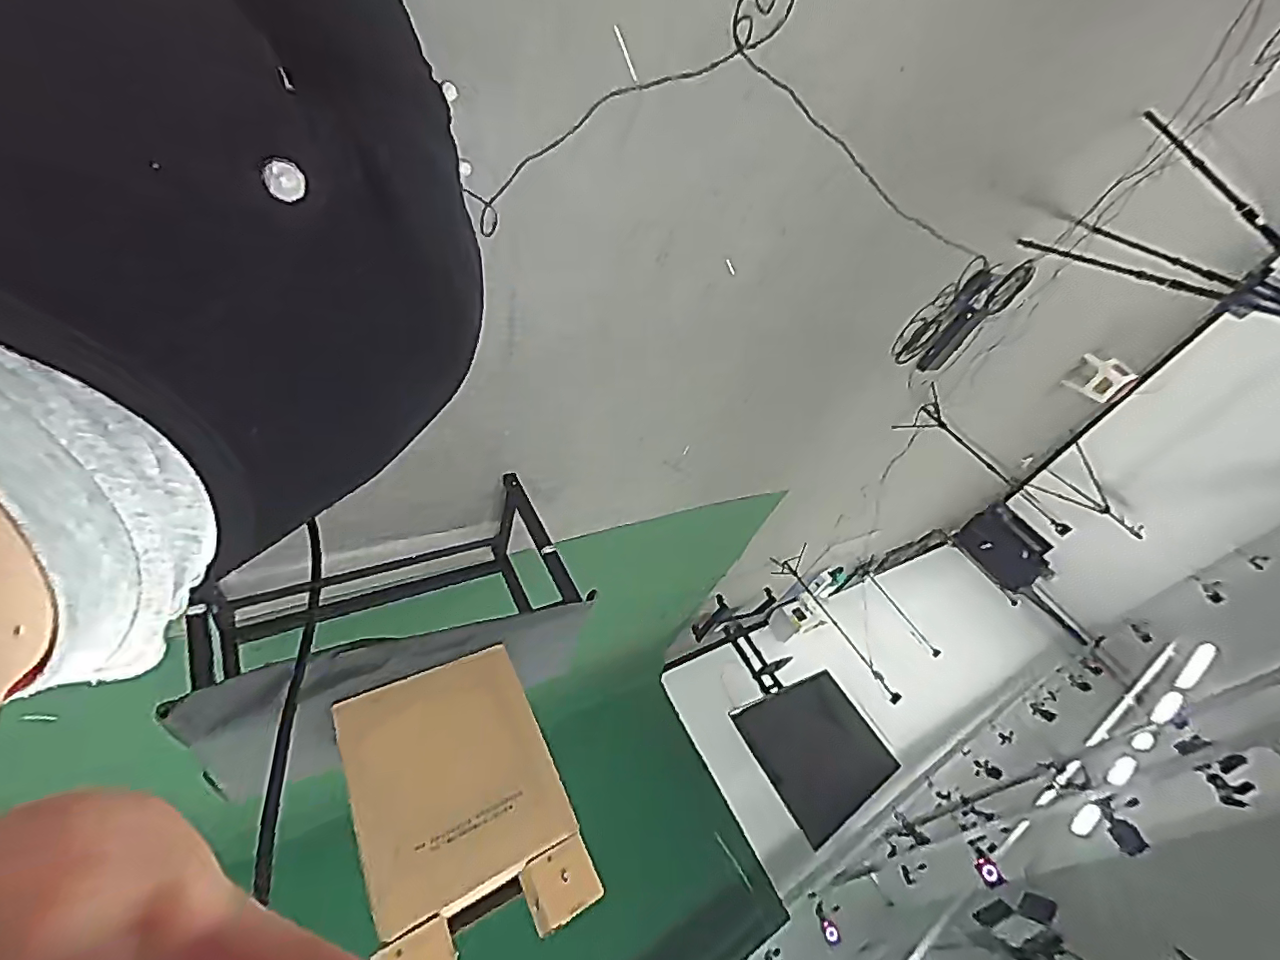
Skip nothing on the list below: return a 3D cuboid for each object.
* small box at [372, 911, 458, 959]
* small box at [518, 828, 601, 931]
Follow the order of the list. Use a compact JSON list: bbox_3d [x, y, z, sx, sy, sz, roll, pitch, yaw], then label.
[{"bbox_3d":[-0.549,1.208,1.339,0.168,0.176,0.179,-16,146,-25],"label":"small box"},{"bbox_3d":[-0.238,1.144,1.558,0.168,0.176,0.179,-13,144,-34],"label":"small box"}]
